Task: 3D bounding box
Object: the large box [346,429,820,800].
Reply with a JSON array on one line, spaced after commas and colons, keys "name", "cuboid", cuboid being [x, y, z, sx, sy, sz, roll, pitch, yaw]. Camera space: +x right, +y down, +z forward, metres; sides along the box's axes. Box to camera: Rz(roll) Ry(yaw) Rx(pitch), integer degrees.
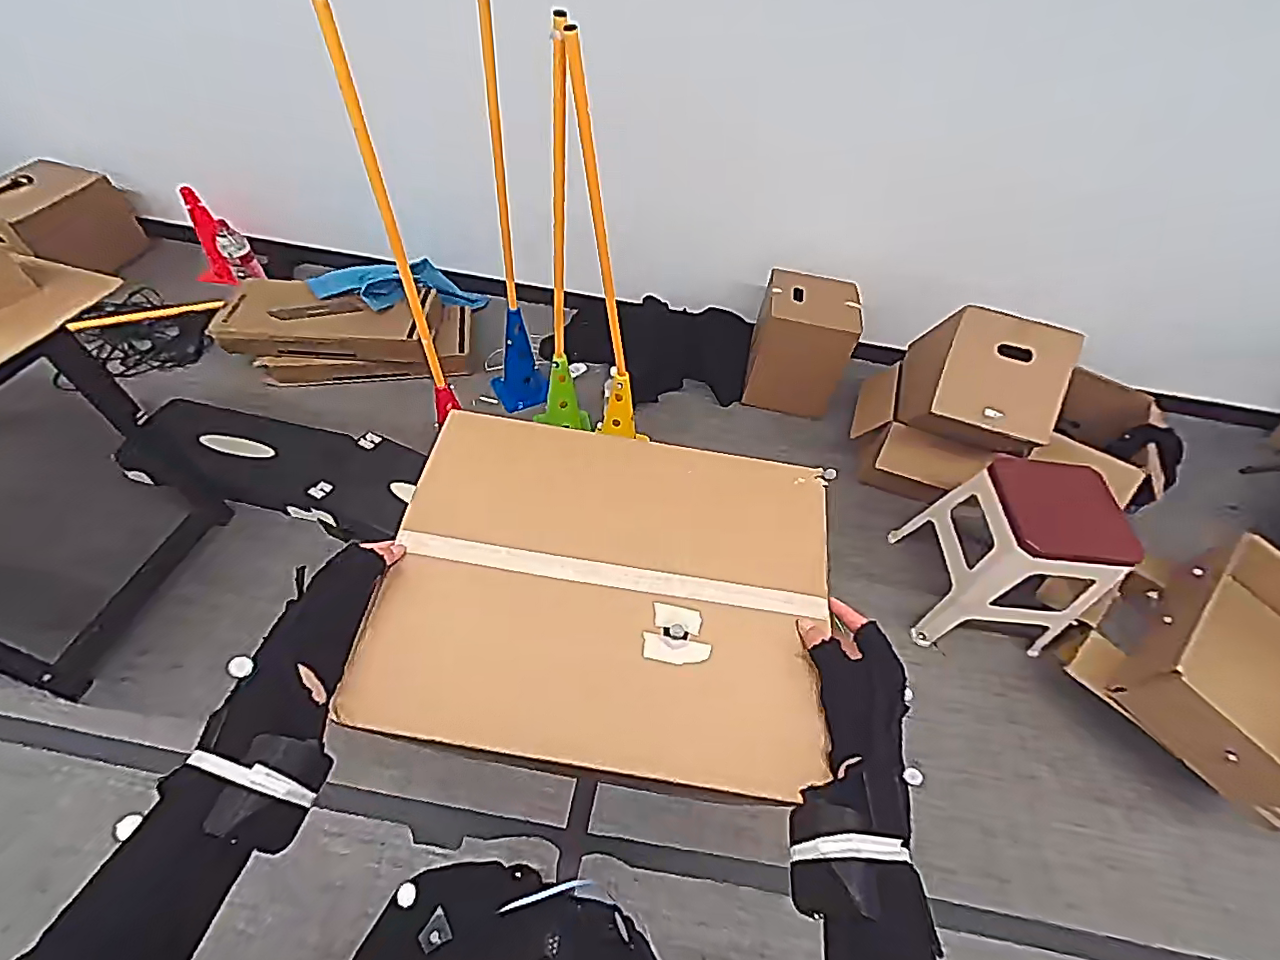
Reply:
[{"name": "large box", "cuboid": [-0.041, 0.176, 0.645, 0.408, 0.320, 0.320, 10, 60, 1]}]
